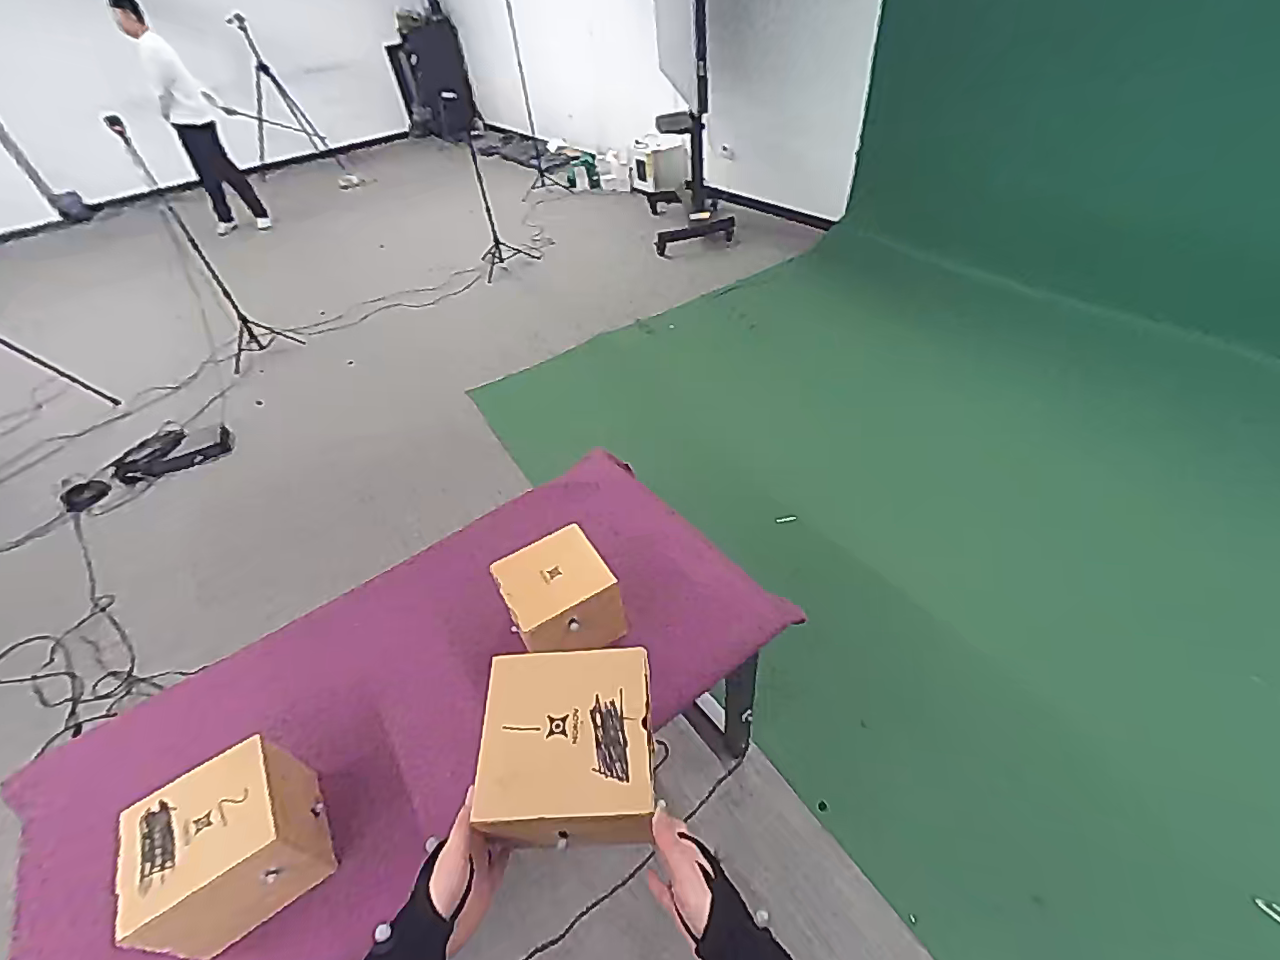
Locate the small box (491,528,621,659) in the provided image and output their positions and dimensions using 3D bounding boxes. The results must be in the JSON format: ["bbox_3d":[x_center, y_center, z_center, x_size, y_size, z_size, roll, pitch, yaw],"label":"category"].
[{"bbox_3d":[-0.145,0.226,0.988,0.179,0.176,0.168,-26,47,-19],"label":"small box"}]

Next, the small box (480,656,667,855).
[{"bbox_3d":[-0.063,0.314,0.614,0.179,0.176,0.168,-3,48,0],"label":"small box"}]
